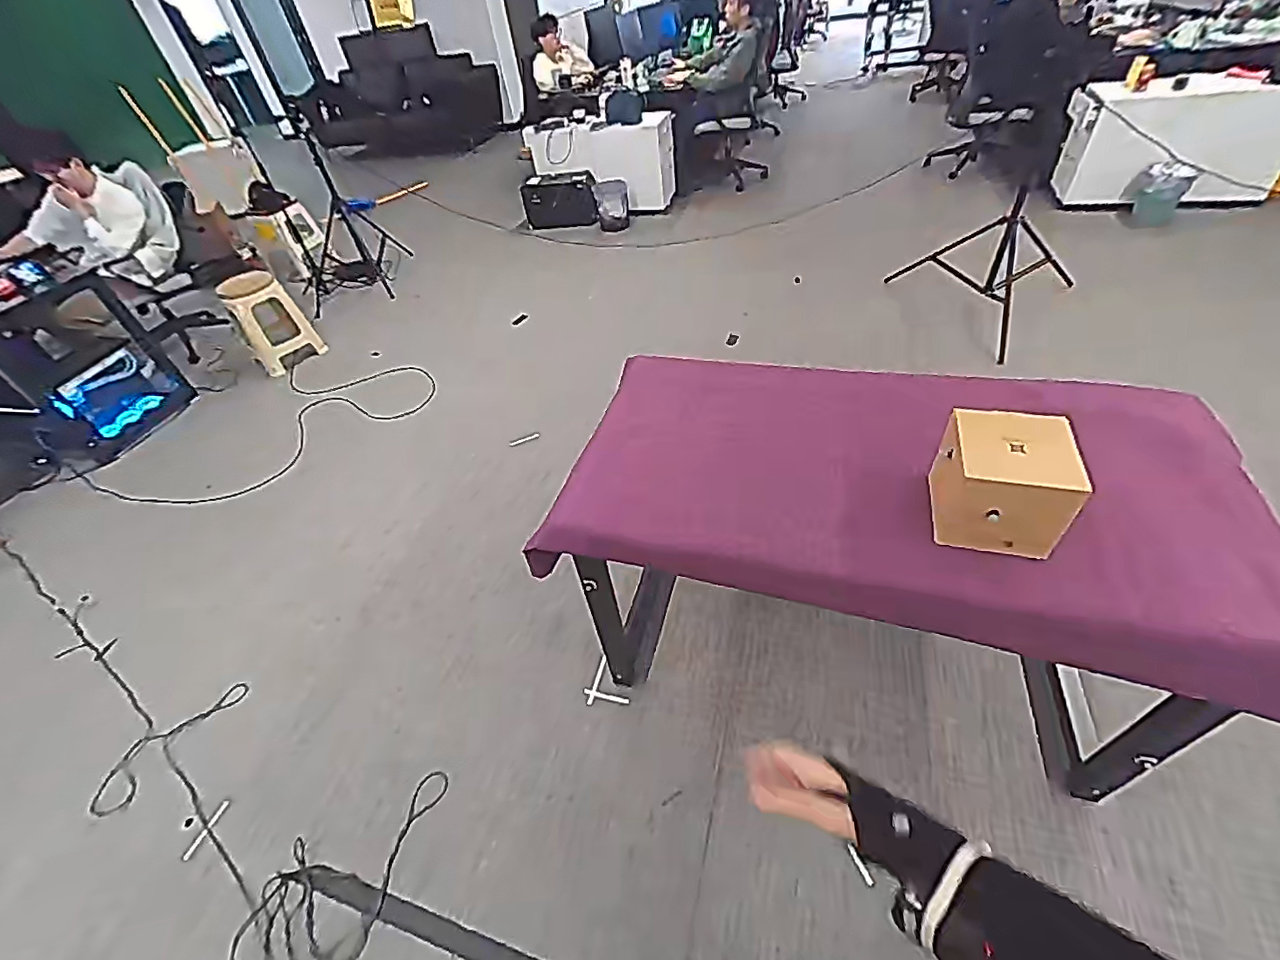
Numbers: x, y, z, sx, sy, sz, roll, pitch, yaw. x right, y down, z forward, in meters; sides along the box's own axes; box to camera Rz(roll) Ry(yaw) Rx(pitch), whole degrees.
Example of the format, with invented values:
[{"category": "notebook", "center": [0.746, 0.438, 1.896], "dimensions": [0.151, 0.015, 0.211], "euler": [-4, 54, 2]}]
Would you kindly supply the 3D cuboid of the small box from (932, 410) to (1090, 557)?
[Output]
[{"category": "small box", "center": [0.601, 0.006, 0.903], "dimensions": [0.168, 0.176, 0.179], "euler": [8, 46, 17]}]
